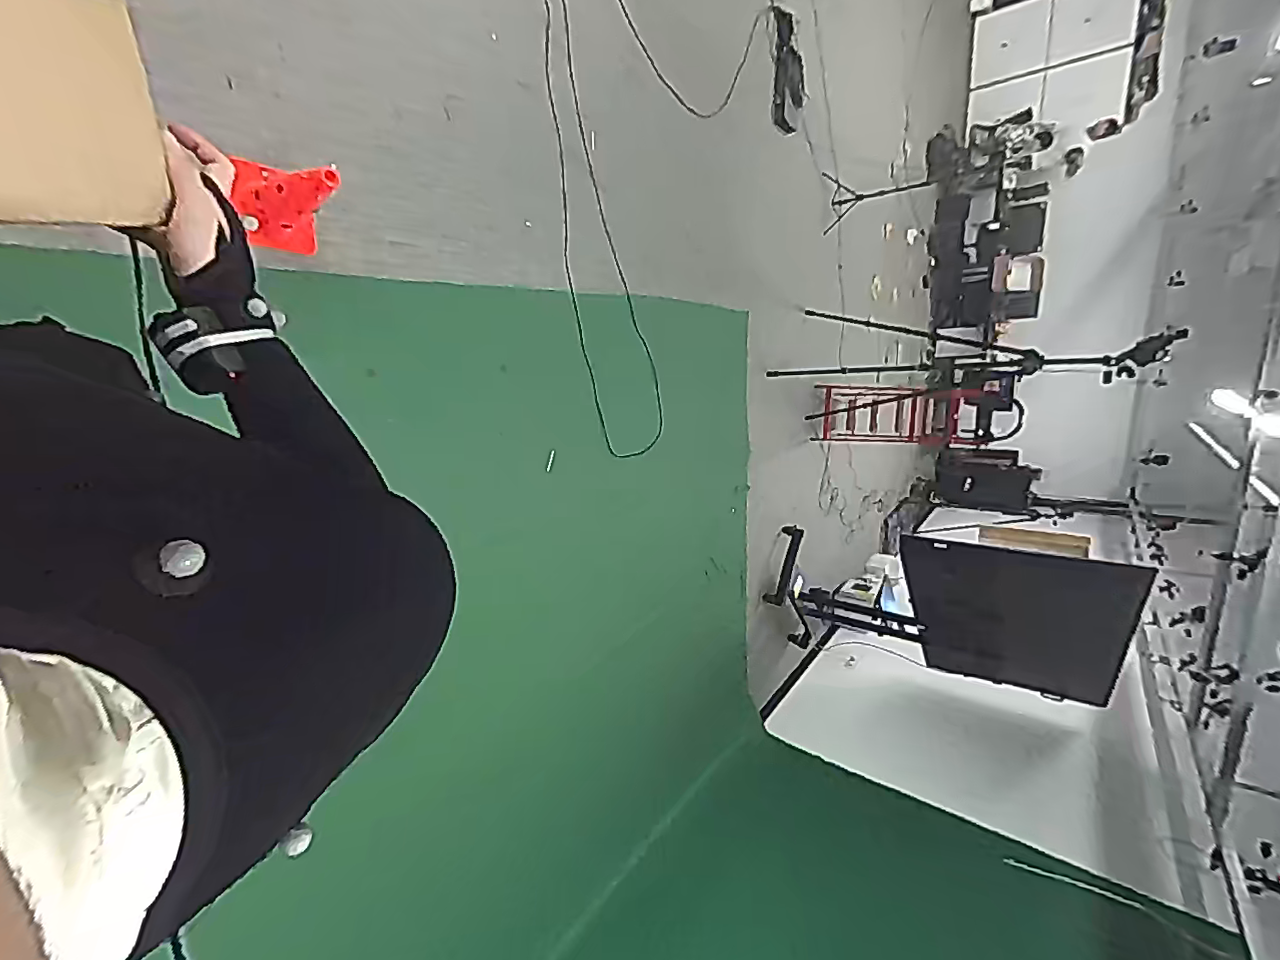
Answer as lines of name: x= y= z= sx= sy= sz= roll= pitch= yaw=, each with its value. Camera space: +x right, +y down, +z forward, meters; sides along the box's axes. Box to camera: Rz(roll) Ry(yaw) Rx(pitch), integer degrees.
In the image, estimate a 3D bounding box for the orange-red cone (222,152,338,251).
orange-red cone: x=-0.823 y=-0.694 z=1.297 sx=0.199 sy=0.360 sz=0.198 roll=-8 pitch=103 yaw=-53
